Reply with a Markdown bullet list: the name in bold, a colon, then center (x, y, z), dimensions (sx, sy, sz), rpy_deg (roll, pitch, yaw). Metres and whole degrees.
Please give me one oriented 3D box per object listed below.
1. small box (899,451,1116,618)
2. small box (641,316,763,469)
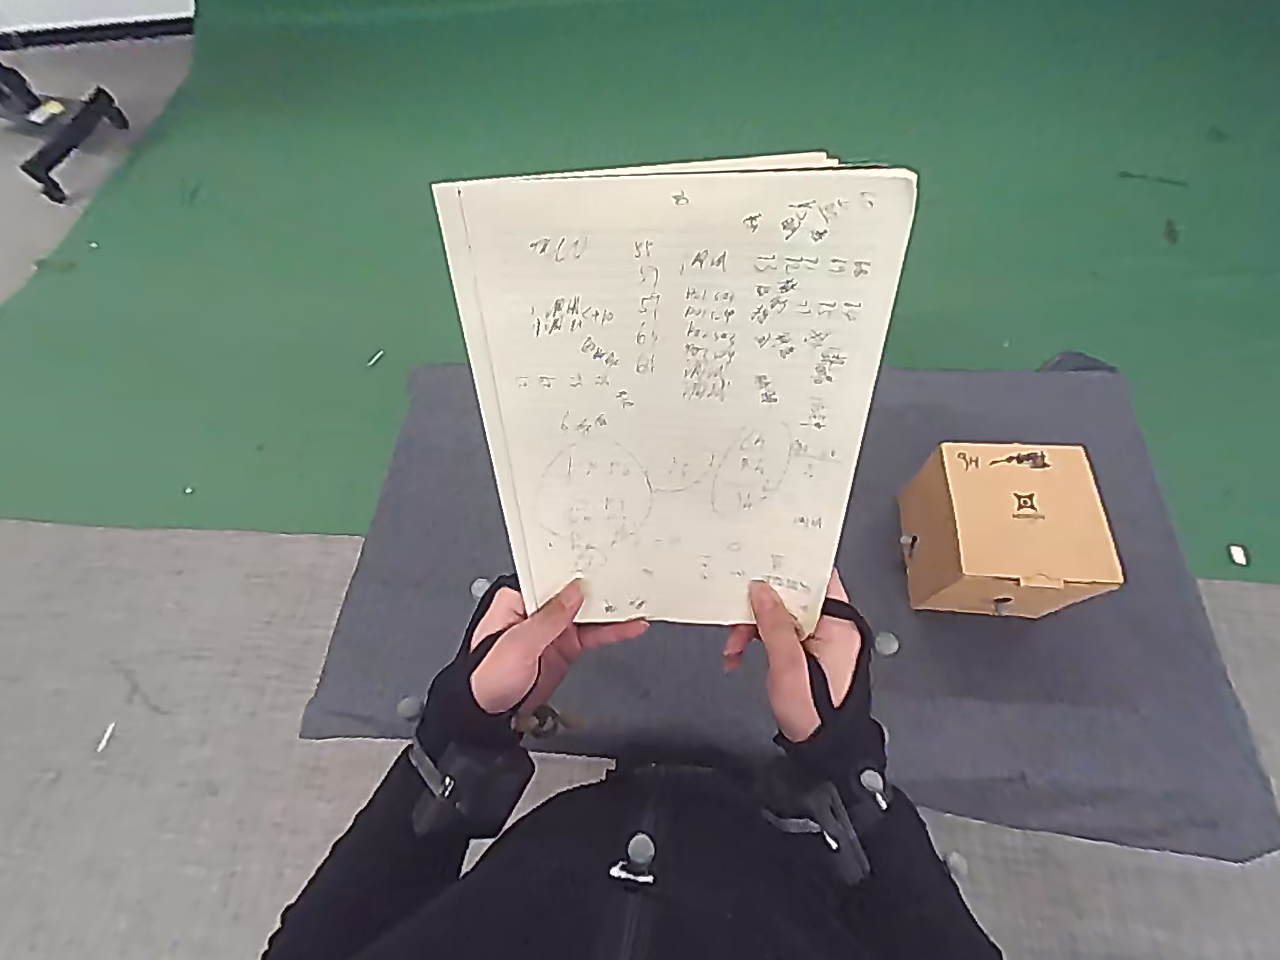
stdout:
- **small box**: center (0.457, 0.078, 0.707), dimensions (0.168, 0.176, 0.179), rpy_deg (2, 66, 7)
- **small box**: center (0.096, -0.127, 0.828), dimensions (0.168, 0.176, 0.179), rpy_deg (2, 64, 6)
